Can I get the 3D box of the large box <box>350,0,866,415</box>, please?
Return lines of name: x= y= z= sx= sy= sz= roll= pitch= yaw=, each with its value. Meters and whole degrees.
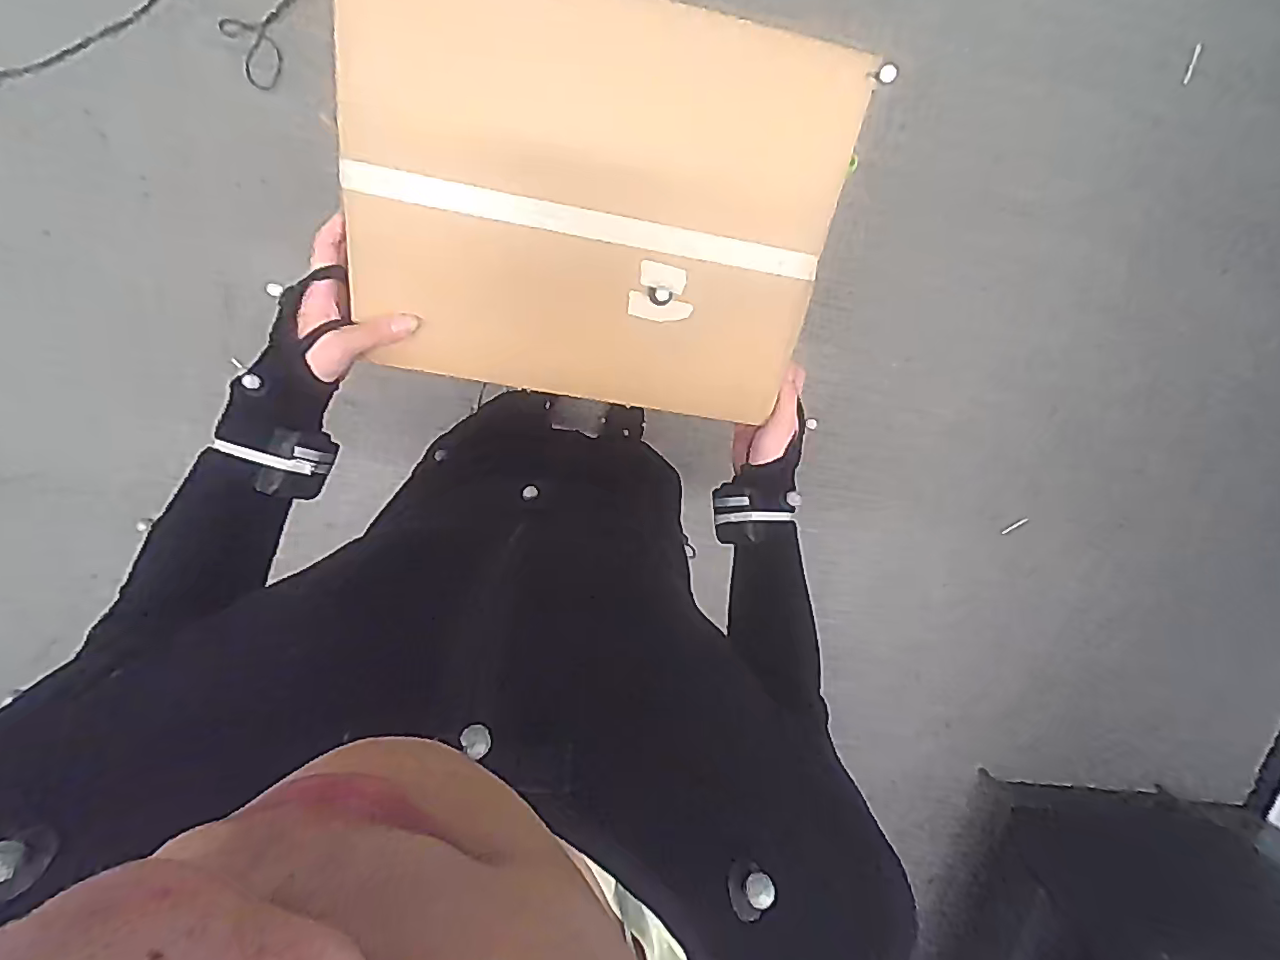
large box: x=-0.049 y=-0.290 z=0.603 sx=0.408 sy=0.320 sz=0.320 roll=7 pitch=117 yaw=-9
